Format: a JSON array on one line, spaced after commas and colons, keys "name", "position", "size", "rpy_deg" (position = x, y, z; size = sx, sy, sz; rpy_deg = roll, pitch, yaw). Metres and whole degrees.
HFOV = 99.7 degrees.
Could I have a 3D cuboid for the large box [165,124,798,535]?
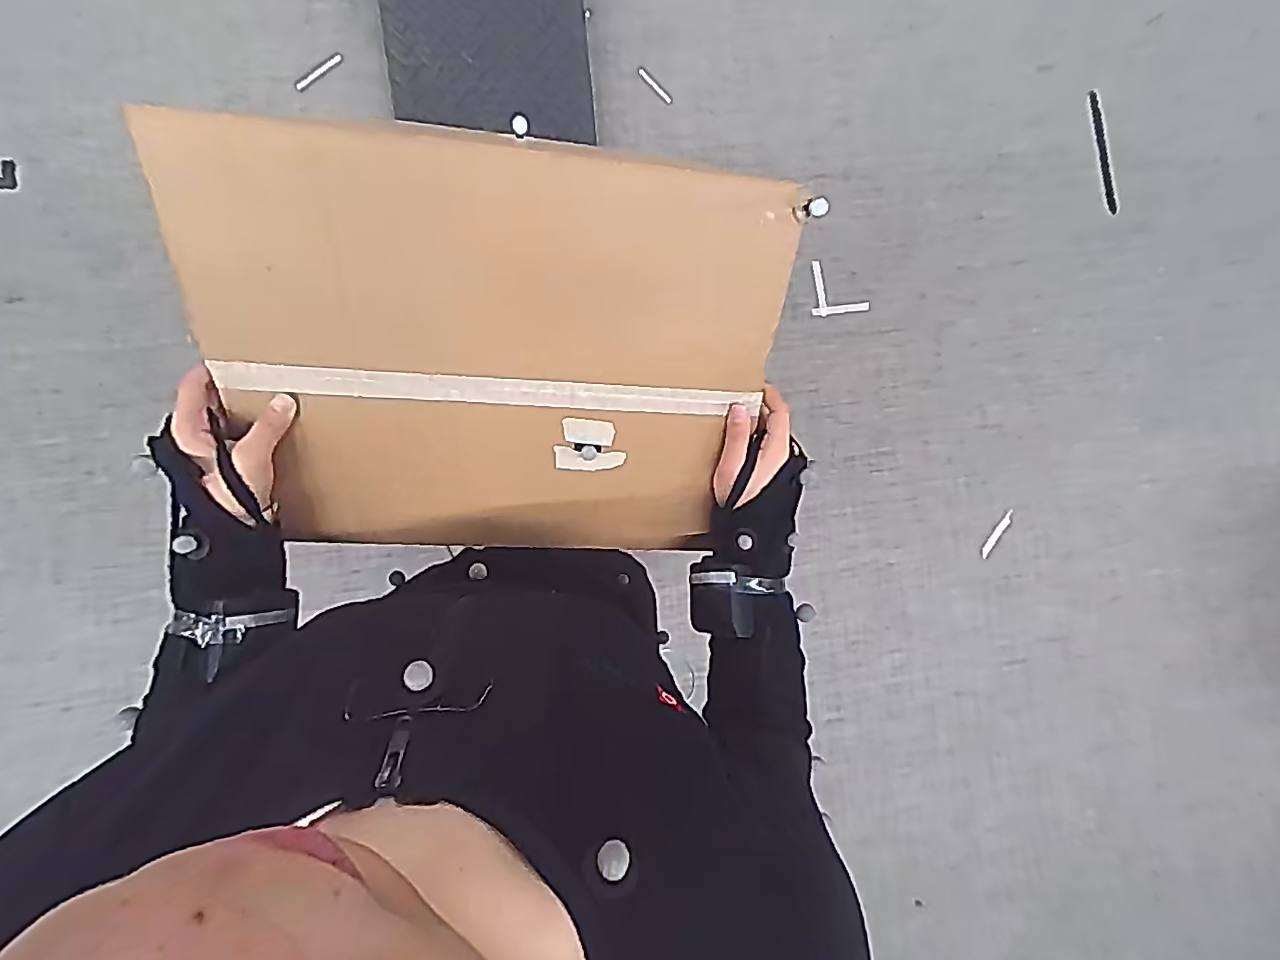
[{"name": "large box", "position": [-0.117, -0.159, 0.548], "size": [0.408, 0.320, 0.320], "rpy_deg": [1, 124, -9]}]
